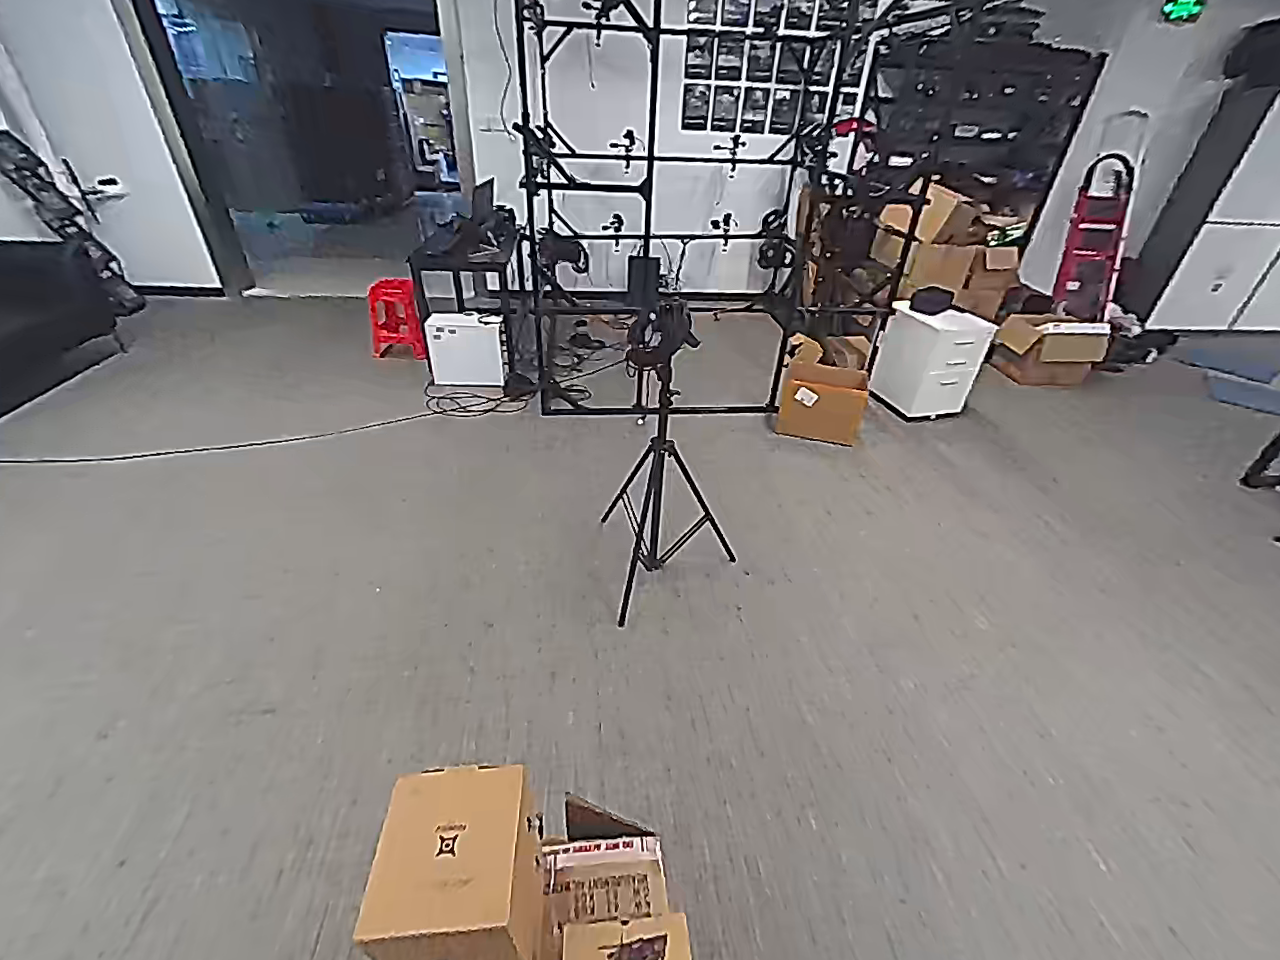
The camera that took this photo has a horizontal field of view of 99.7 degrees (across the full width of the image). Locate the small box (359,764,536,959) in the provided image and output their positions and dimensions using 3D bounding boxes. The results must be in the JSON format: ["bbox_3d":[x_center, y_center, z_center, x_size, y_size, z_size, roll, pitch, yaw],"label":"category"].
[{"bbox_3d":[-0.227,0.497,0.692,0.168,0.176,0.179,-3,37,-4],"label":"small box"}]

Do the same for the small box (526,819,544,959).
[{"bbox_3d":[-0.232,0.628,0.788,0.168,0.176,0.179,-2,36,-5],"label":"small box"}]

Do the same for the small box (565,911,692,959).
[{"bbox_3d":[-0.016,0.701,0.702,0.168,0.176,0.179,-1,37,-6],"label":"small box"}]
